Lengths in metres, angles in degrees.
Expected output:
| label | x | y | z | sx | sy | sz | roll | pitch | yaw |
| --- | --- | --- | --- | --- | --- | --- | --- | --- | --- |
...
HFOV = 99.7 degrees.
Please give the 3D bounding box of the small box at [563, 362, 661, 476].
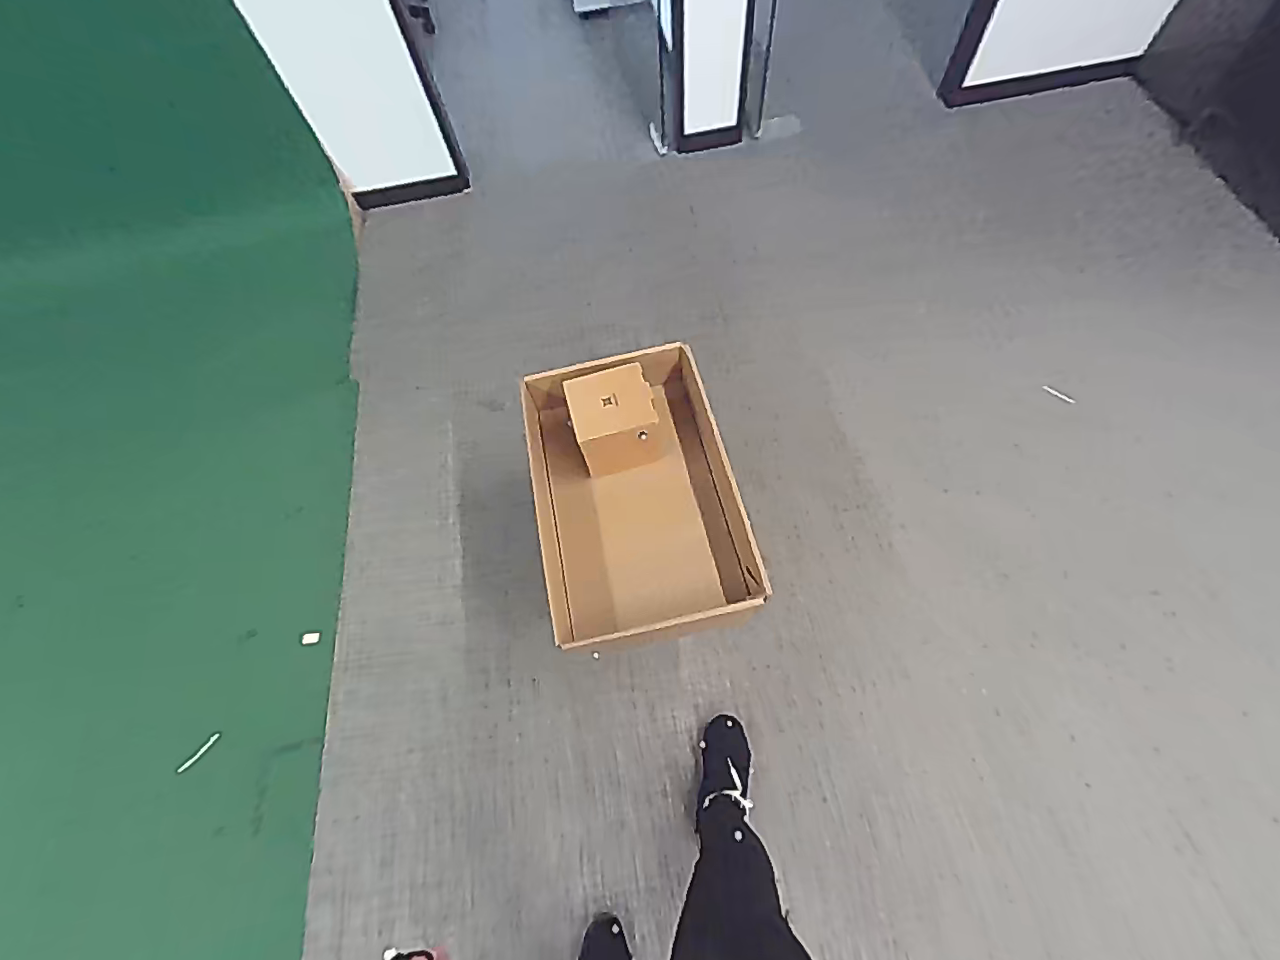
| label | x | y | z | sx | sy | sz | roll | pitch | yaw |
| --- | --- | --- | --- | --- | --- | --- | --- | --- | --- |
| small box | -0.058 | -0.130 | 1.205 | 0.179 | 0.176 | 0.168 | -15 | 63 | -3 |
